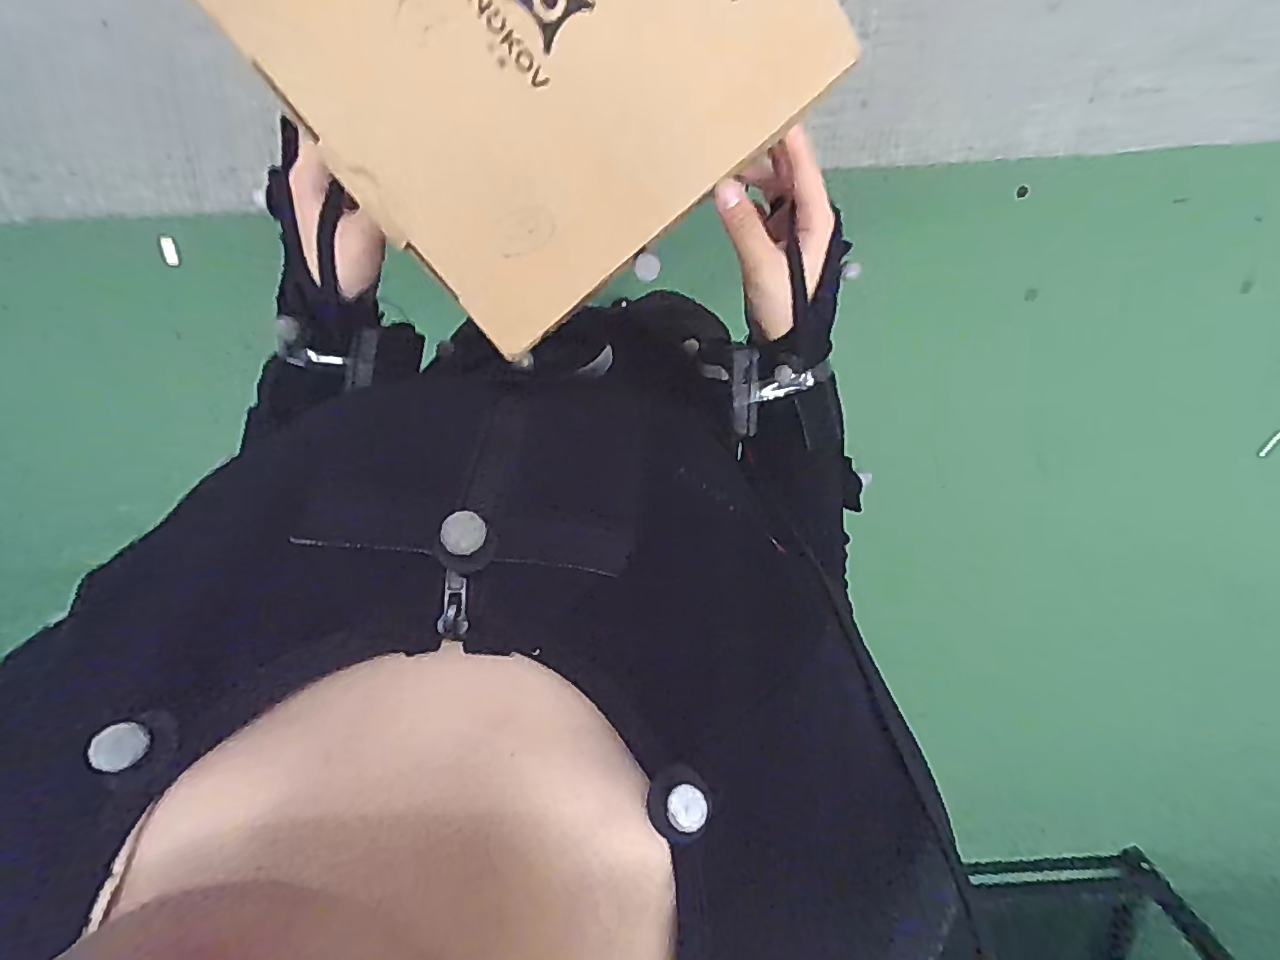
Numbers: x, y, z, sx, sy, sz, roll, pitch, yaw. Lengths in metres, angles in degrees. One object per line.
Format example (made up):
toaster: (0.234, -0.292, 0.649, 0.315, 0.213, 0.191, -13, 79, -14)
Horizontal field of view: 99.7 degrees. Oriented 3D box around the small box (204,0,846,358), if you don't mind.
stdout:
small box: (-0.039, -0.186, 0.268, 0.179, 0.176, 0.168, -36, 107, 13)
